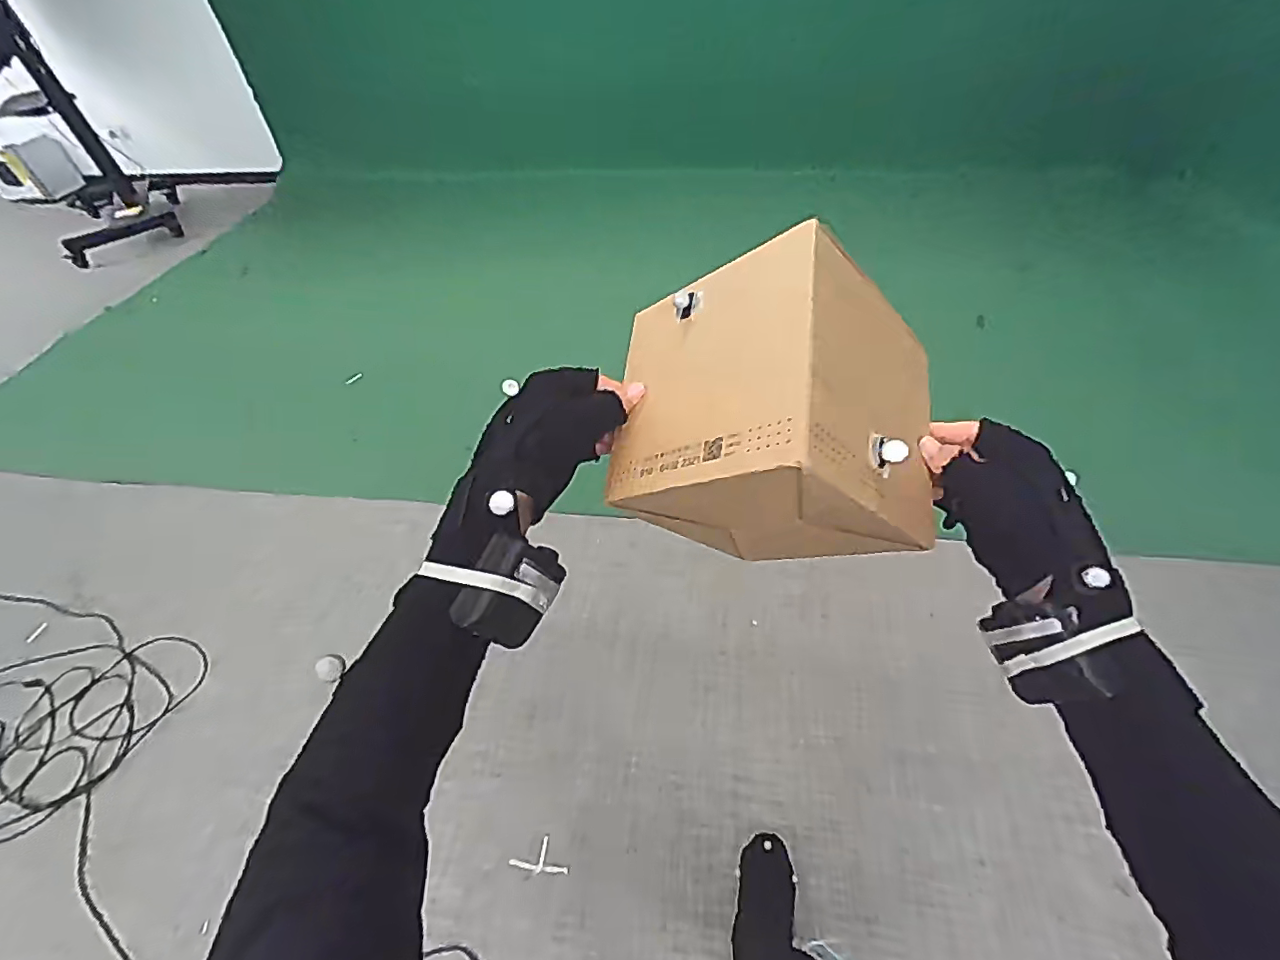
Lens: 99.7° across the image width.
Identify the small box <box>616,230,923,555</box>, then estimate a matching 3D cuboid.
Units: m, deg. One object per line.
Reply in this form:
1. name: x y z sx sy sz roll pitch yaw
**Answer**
1. small box: 0.102 -0.043 0.424 0.168 0.179 0.176 -14 60 47
